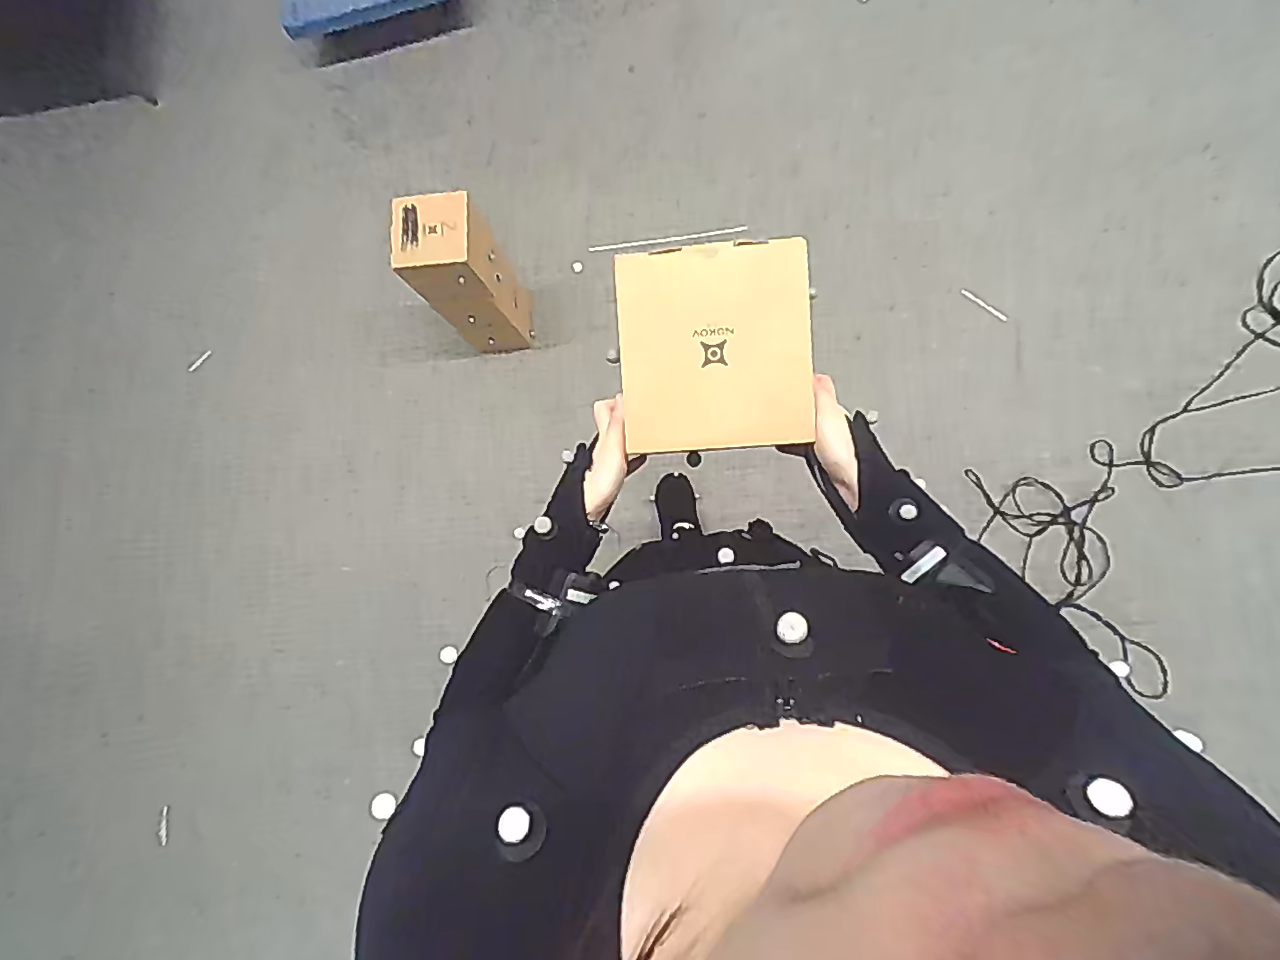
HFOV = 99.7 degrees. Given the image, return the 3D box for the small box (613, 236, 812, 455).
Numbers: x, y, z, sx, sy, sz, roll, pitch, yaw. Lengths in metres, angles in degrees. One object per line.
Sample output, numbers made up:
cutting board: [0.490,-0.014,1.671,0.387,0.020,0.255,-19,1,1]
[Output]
small box: [0.070,-0.118,0.542,0.168,0.176,0.179,-4,92,5]

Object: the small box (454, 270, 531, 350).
small box: [-0.420,-0.489,1.566,0.179,0.176,0.168,-4,83,7]

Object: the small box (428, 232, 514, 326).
small box: [-0.433,-0.510,1.404,0.168,0.176,0.179,-3,83,6]
